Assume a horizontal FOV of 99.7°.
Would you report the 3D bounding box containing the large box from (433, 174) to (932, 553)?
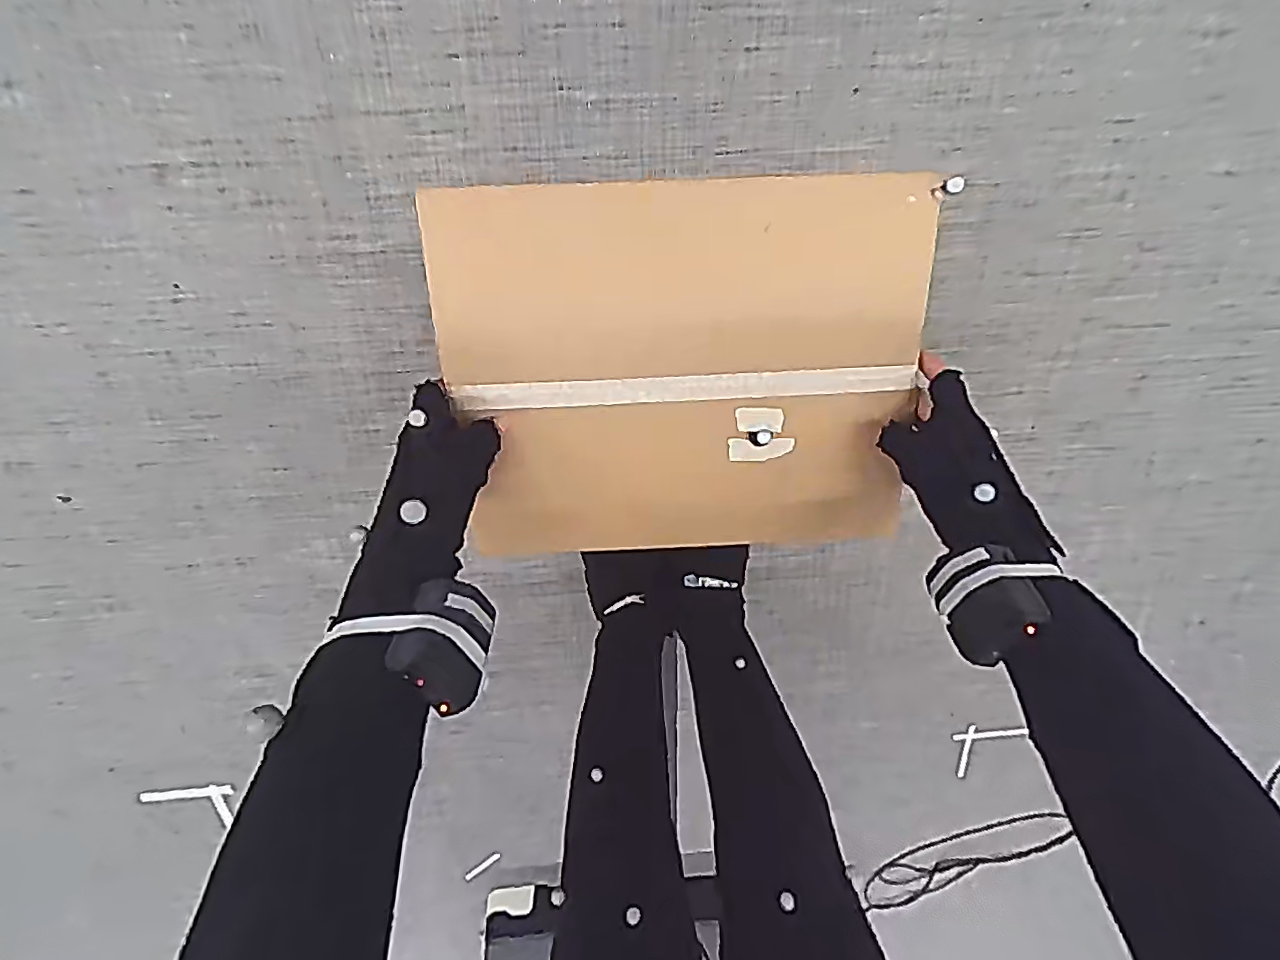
[{"bbox_3d":[0.035,-0.137,0.613,0.408,0.320,0.320,-3,111,-2],"label":"large box"}]
